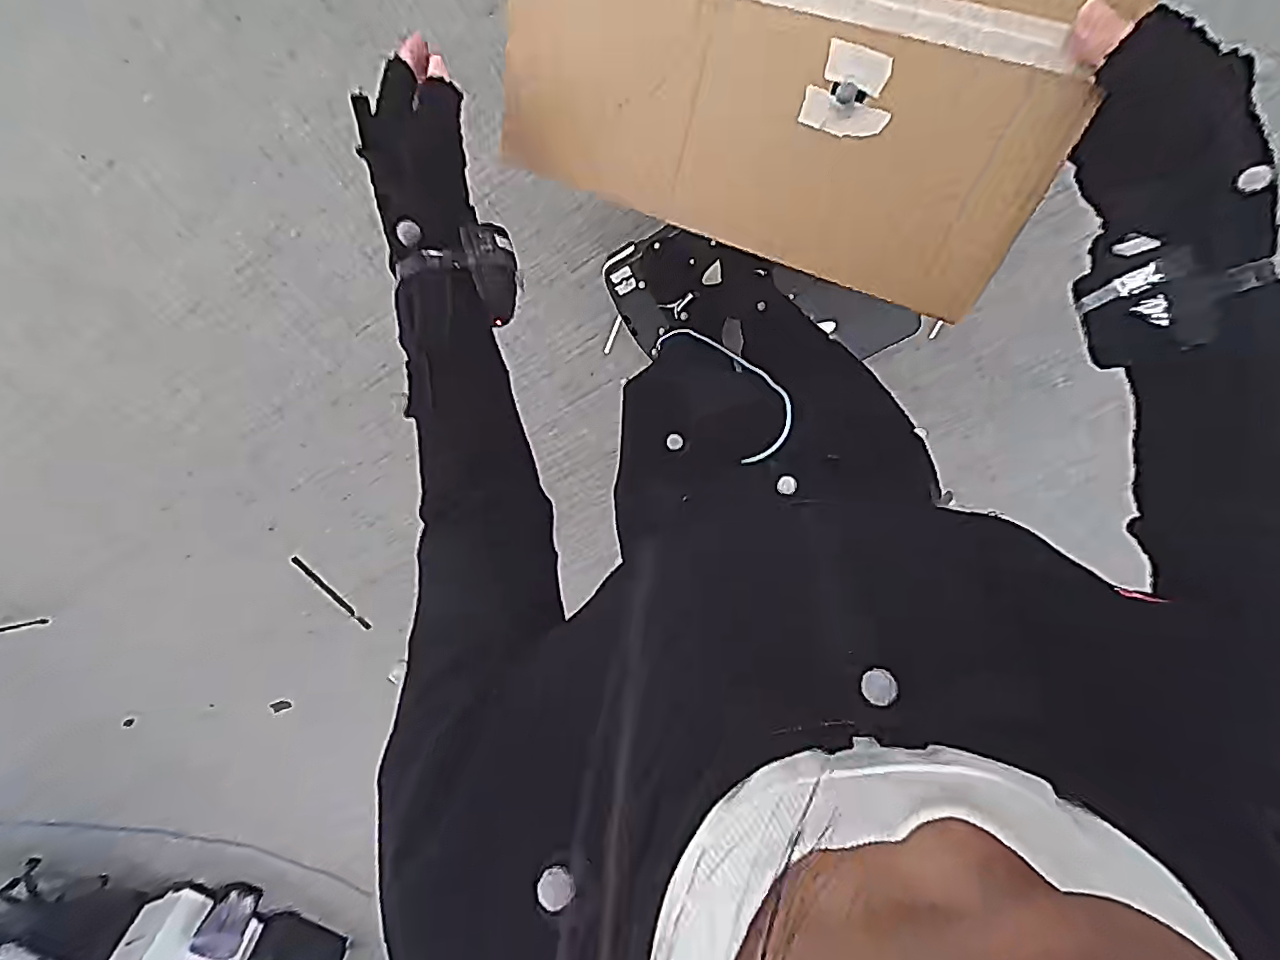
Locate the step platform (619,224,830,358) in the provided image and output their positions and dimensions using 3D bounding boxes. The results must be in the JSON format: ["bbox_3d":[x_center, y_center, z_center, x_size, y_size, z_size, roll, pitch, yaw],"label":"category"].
[{"bbox_3d":[0.288,-0.585,1.314,0.684,0.204,0.286,-28,116,15],"label":"step platform"}]

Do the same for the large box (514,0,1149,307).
[{"bbox_3d":[0.152,-0.391,0.466,0.408,0.320,0.320,24,128,12],"label":"large box"}]
